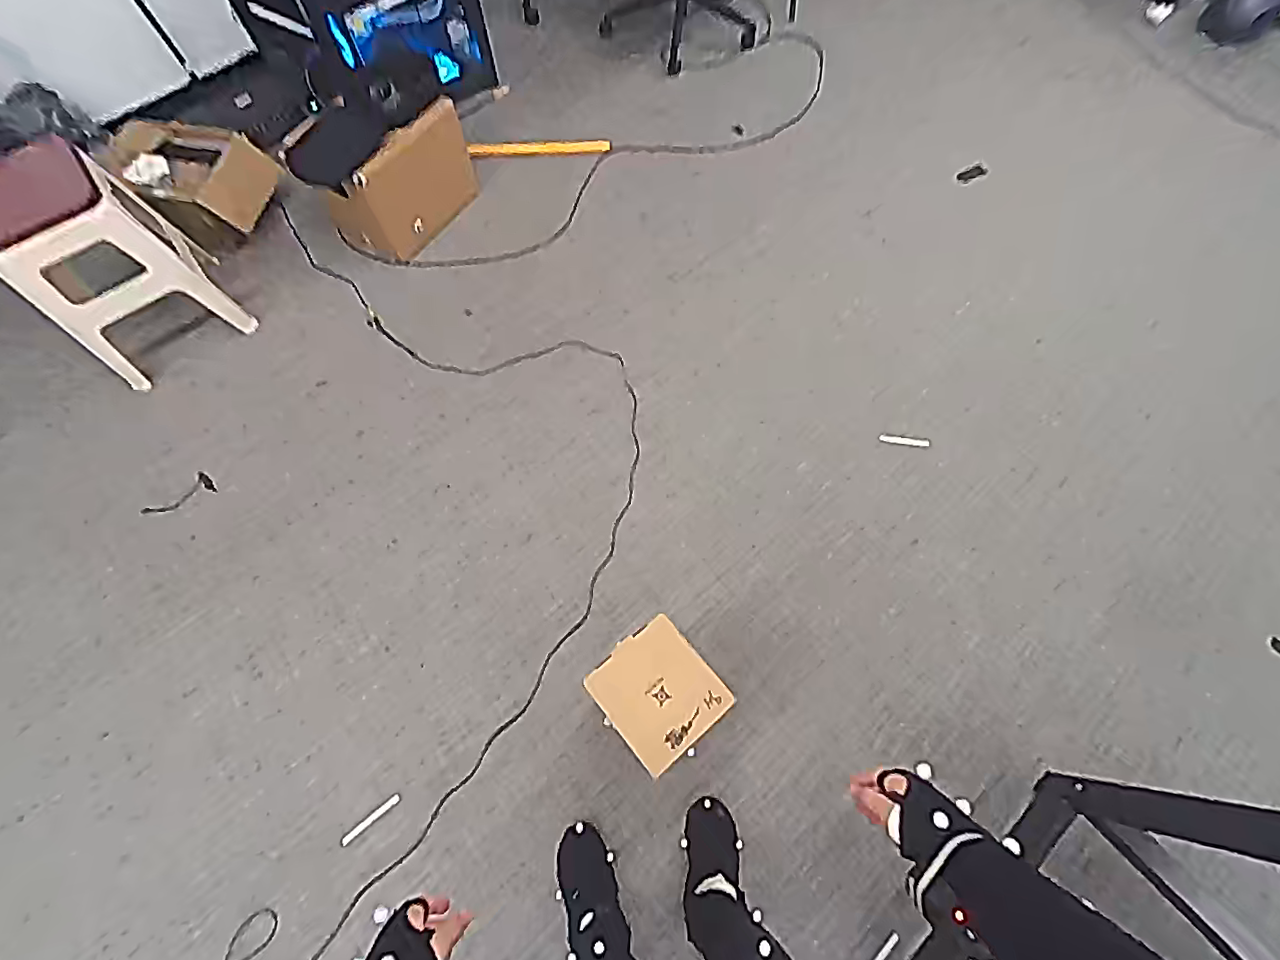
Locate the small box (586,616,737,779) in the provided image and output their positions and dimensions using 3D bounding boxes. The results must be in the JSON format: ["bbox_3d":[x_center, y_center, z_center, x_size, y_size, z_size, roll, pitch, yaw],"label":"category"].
[{"bbox_3d":[0.031,0.357,0.892,0.168,0.176,0.179,-38,71,-14],"label":"small box"}]
